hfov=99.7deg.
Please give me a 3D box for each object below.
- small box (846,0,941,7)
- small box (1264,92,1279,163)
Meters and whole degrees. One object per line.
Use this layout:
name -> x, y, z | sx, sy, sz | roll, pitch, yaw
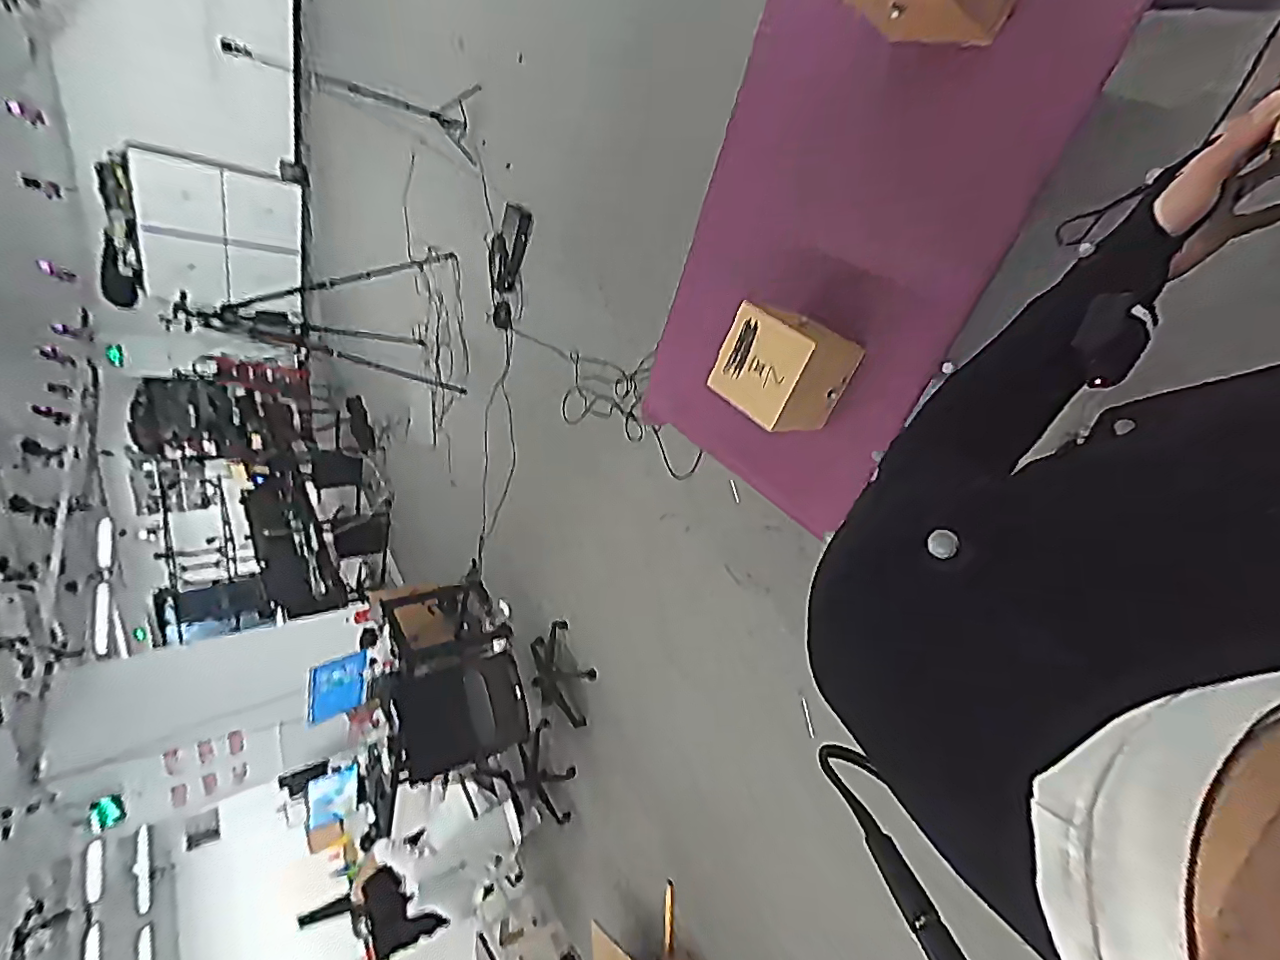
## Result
small box -> 0.306, -0.694, 0.635 | 0.179, 0.176, 0.168 | 45, 128, 40
small box -> 0.560, -0.317, 0.352 | 0.168, 0.176, 0.179 | 18, 115, 45
